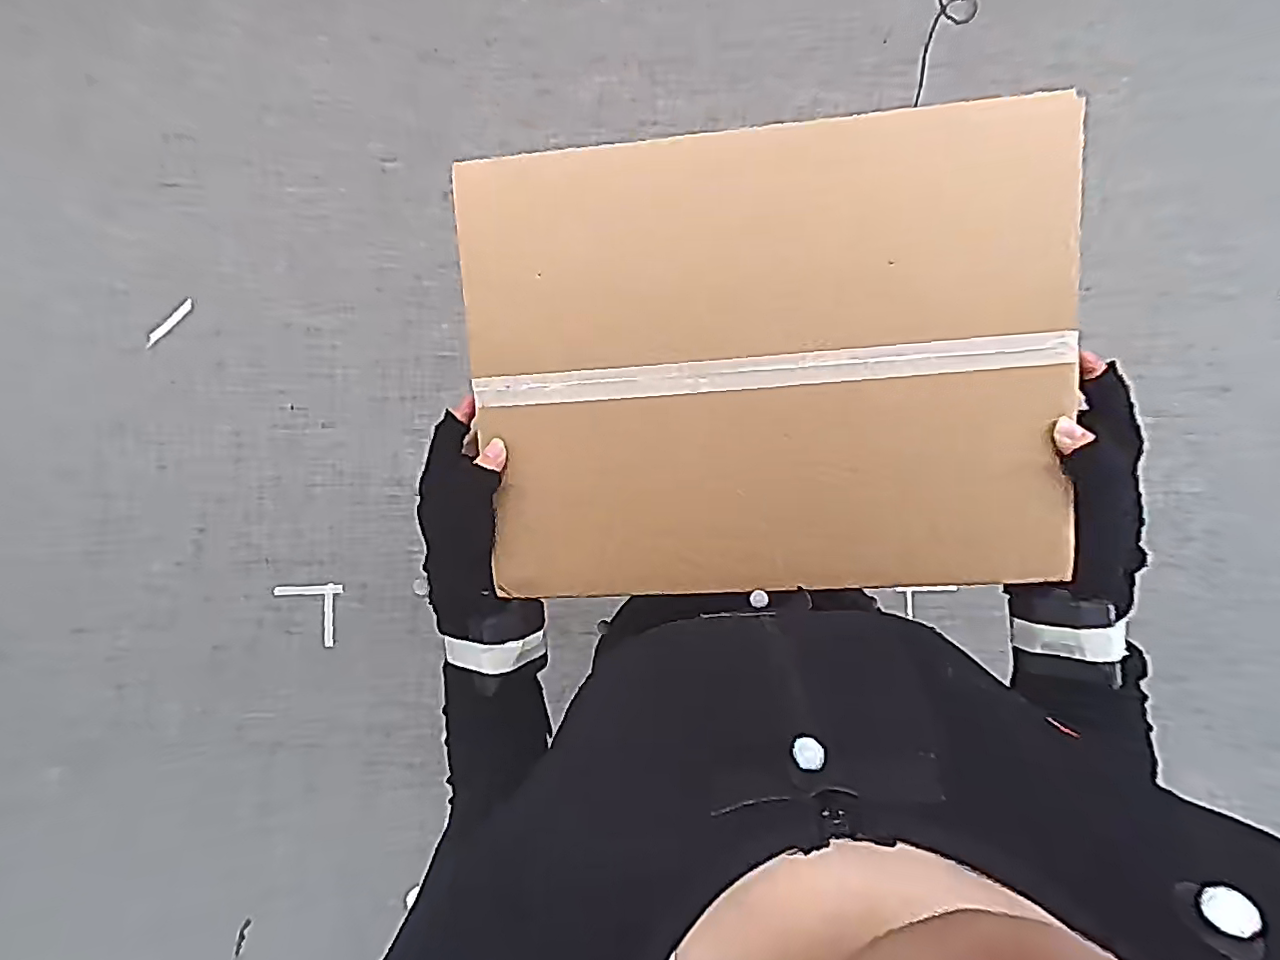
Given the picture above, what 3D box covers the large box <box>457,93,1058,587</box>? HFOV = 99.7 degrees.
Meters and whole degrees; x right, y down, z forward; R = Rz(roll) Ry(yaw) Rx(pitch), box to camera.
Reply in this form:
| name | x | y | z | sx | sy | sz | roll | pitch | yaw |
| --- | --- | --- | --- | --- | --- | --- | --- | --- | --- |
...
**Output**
| name | x | y | z | sx | sy | sz | roll | pitch | yaw |
| --- | --- | --- | --- | --- | --- | --- | --- | --- | --- |
| large box | 0.093 | -0.101 | 0.526 | 0.408 | 0.320 | 0.320 | -3 | 97 | 6 |
